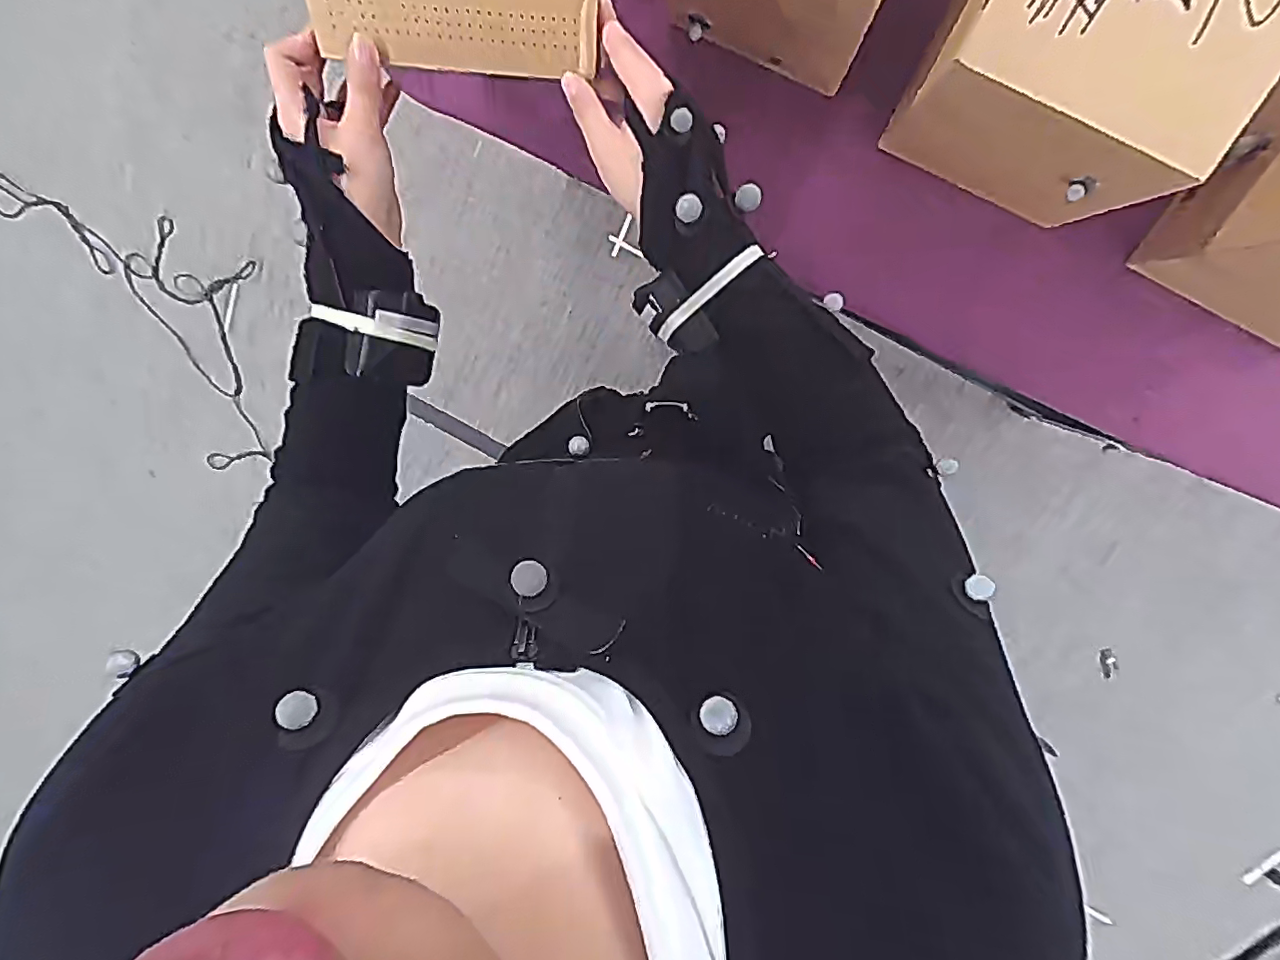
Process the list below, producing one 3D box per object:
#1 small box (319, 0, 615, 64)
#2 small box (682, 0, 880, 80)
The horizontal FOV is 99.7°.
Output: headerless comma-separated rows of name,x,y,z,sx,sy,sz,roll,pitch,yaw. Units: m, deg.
small box,-0.102,-0.377,0.339,0.179,0.168,0.176,3,133,-3
small box,0.123,-0.433,0.381,0.168,0.176,0.179,25,107,0
